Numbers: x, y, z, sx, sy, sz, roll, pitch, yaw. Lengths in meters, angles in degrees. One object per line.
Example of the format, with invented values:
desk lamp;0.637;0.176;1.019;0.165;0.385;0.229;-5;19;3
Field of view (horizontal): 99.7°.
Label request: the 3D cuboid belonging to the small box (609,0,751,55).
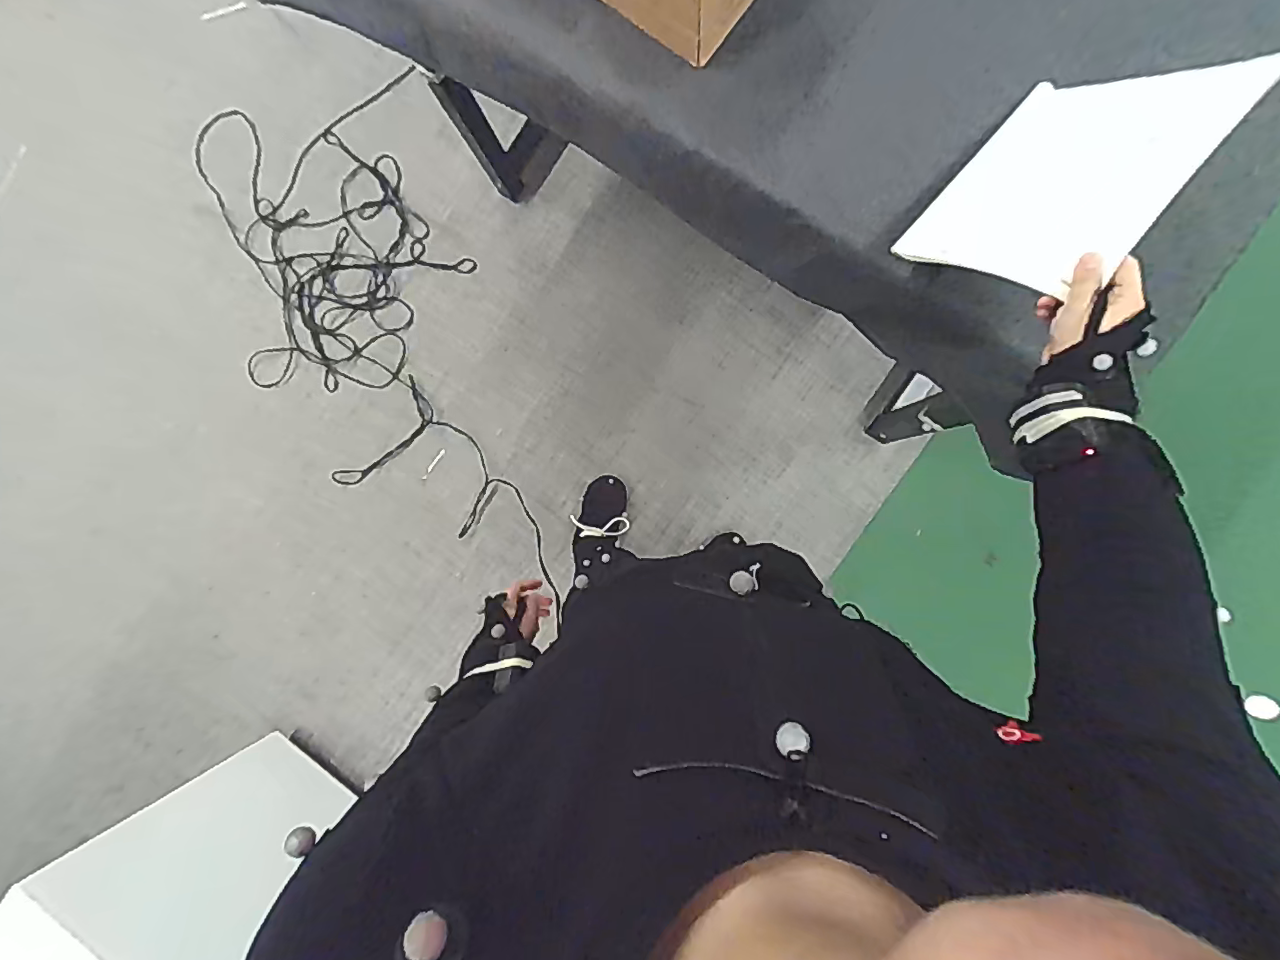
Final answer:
small box;0.045;-0.603;0.558;0.179;0.176;0.168;38;92;4
